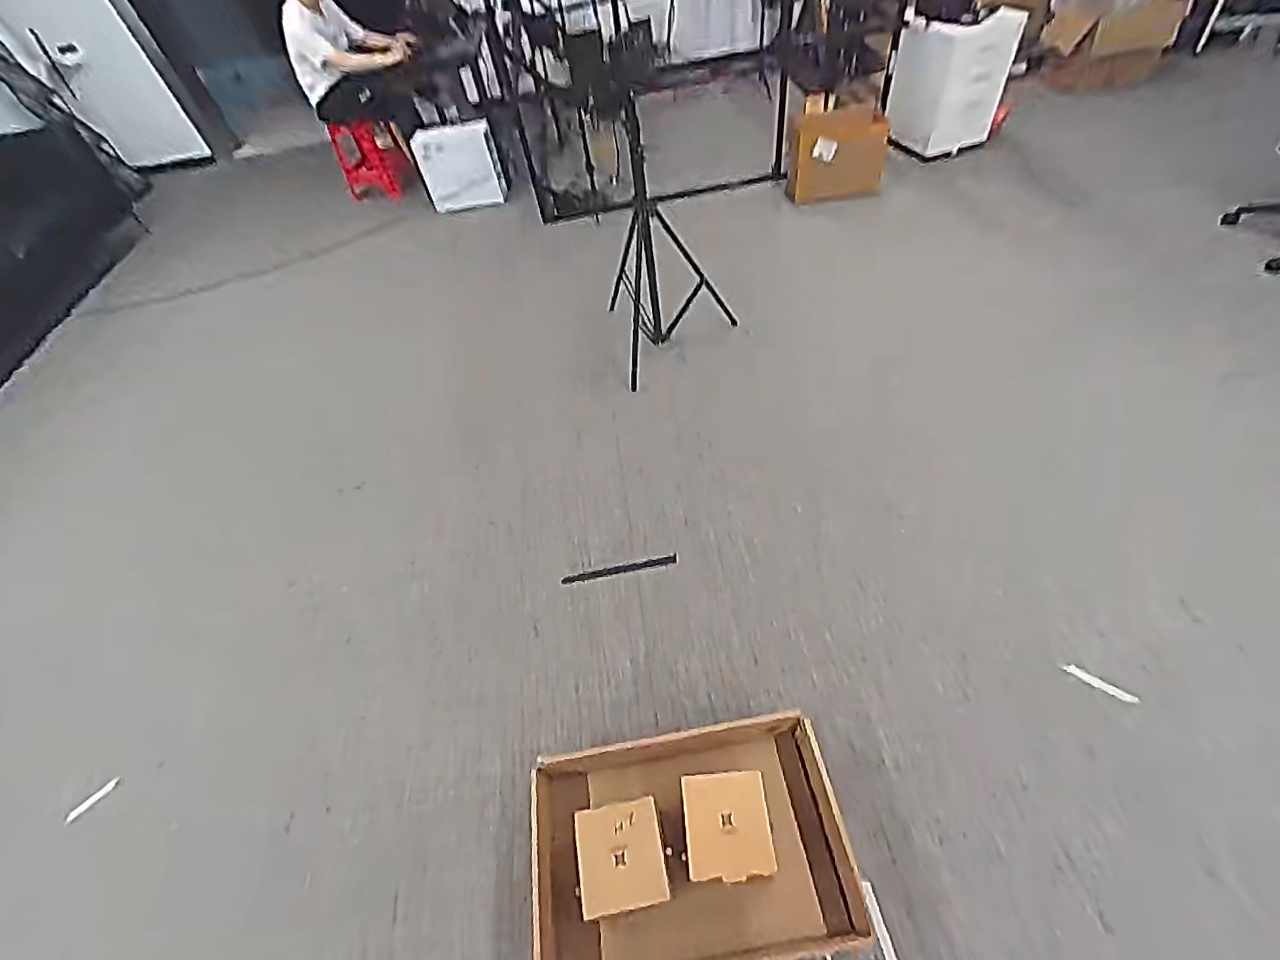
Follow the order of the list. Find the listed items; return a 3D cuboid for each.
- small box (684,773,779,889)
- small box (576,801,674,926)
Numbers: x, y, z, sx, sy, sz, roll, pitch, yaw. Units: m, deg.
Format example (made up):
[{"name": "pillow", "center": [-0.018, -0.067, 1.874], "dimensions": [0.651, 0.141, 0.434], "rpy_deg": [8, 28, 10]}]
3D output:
[{"name": "small box", "center": [0.183, 0.725, 1.113], "dimensions": [0.168, 0.176, 0.179], "rpy_deg": [-7, 50, 4]}, {"name": "small box", "center": [-0.028, 0.779, 1.099], "dimensions": [0.168, 0.176, 0.179], "rpy_deg": [-11, 50, -2]}]
